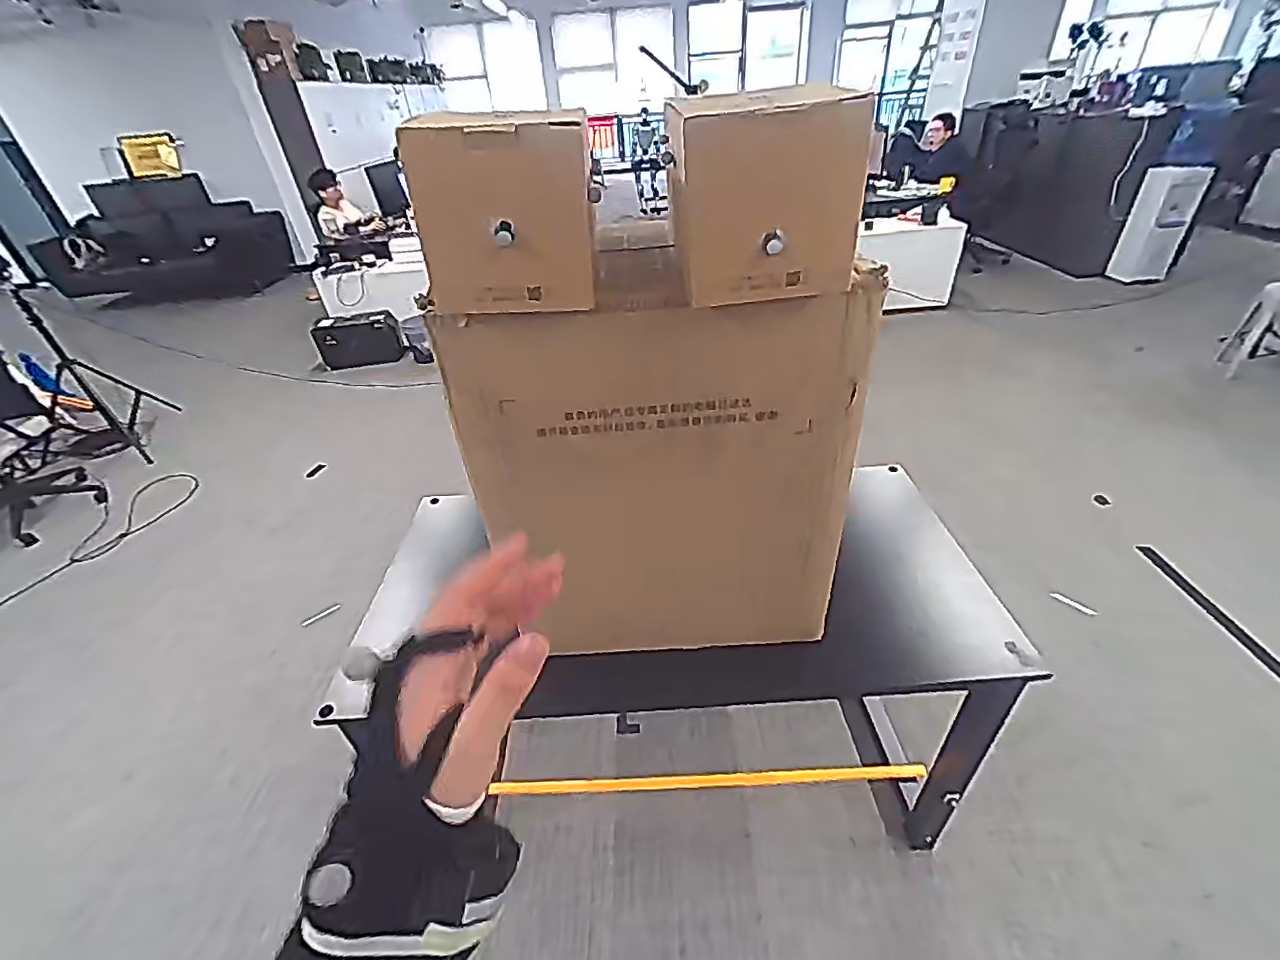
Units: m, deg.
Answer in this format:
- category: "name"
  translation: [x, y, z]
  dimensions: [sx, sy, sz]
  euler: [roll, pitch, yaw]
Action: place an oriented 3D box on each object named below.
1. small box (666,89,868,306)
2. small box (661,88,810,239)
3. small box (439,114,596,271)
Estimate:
- category: "small box"
  translation: [0.118, -0.300, 0.573]
  dimensions: [0.168, 0.176, 0.179]
  euler: [-6, 38, 2]
- category: "small box"
  translation: [0.118, -0.413, 0.727]
  dimensions: [0.168, 0.176, 0.179]
  euler: [-6, 35, 1]
- category: "small box"
  translation: [-0.153, -0.396, 0.744]
  dimensions: [0.168, 0.176, 0.179]
  euler: [-5, 35, 0]
